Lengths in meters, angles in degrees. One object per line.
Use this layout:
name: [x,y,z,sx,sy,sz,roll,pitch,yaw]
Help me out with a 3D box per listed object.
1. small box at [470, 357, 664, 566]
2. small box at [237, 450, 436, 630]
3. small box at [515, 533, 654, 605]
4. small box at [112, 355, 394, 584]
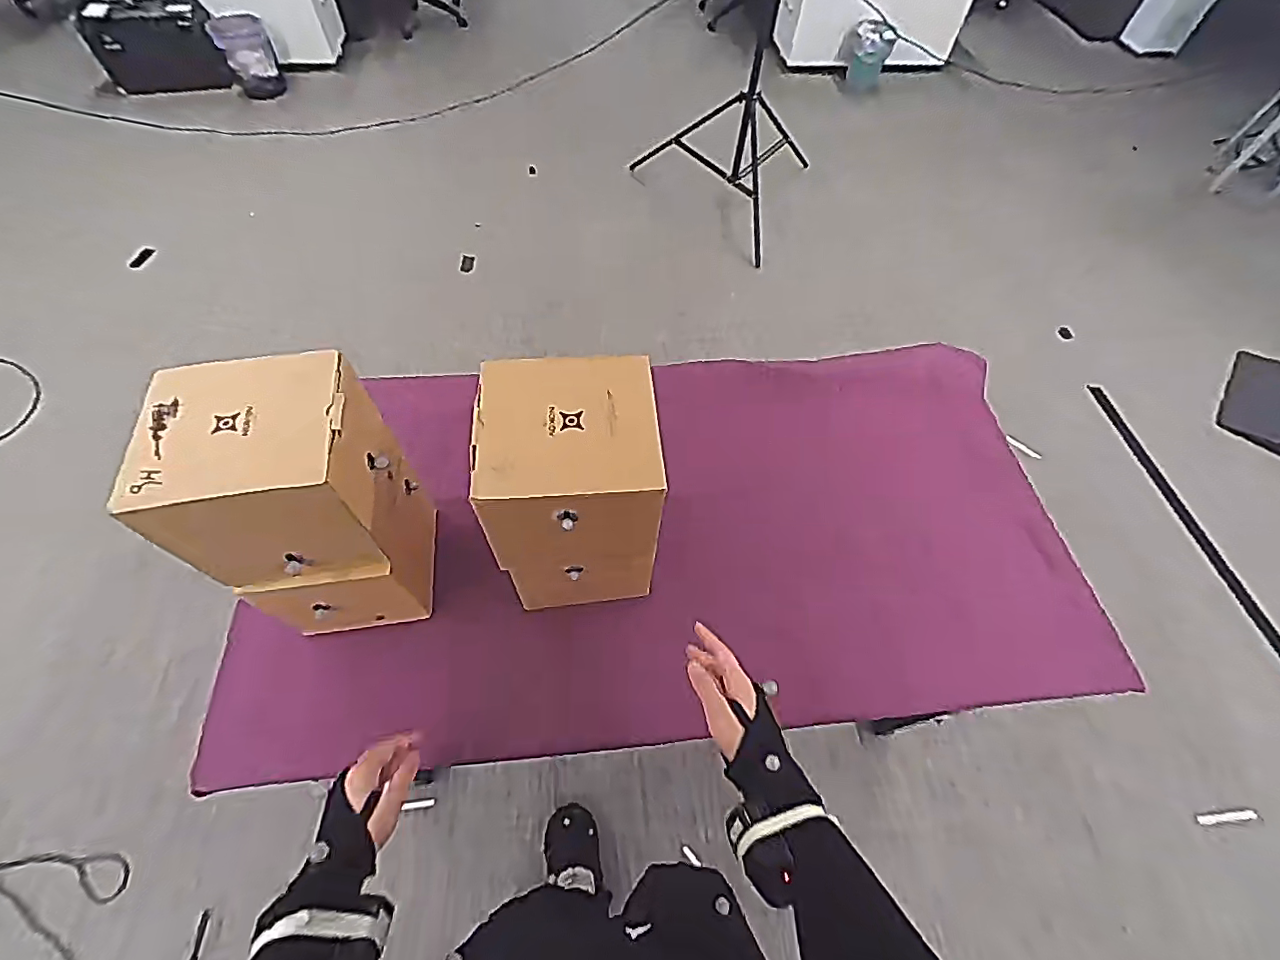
small box: [-0.075,-0.014,0.589,0.179,0.176,0.168,-3,60,-6]
small box: [-0.374,0.086,0.704,0.168,0.176,0.179,-7,58,-7]
small box: [-0.082,0.060,0.734,0.179,0.176,0.168,-5,59,-7]
small box: [-0.373,-0.006,0.568,0.179,0.176,0.168,-8,58,-9]
